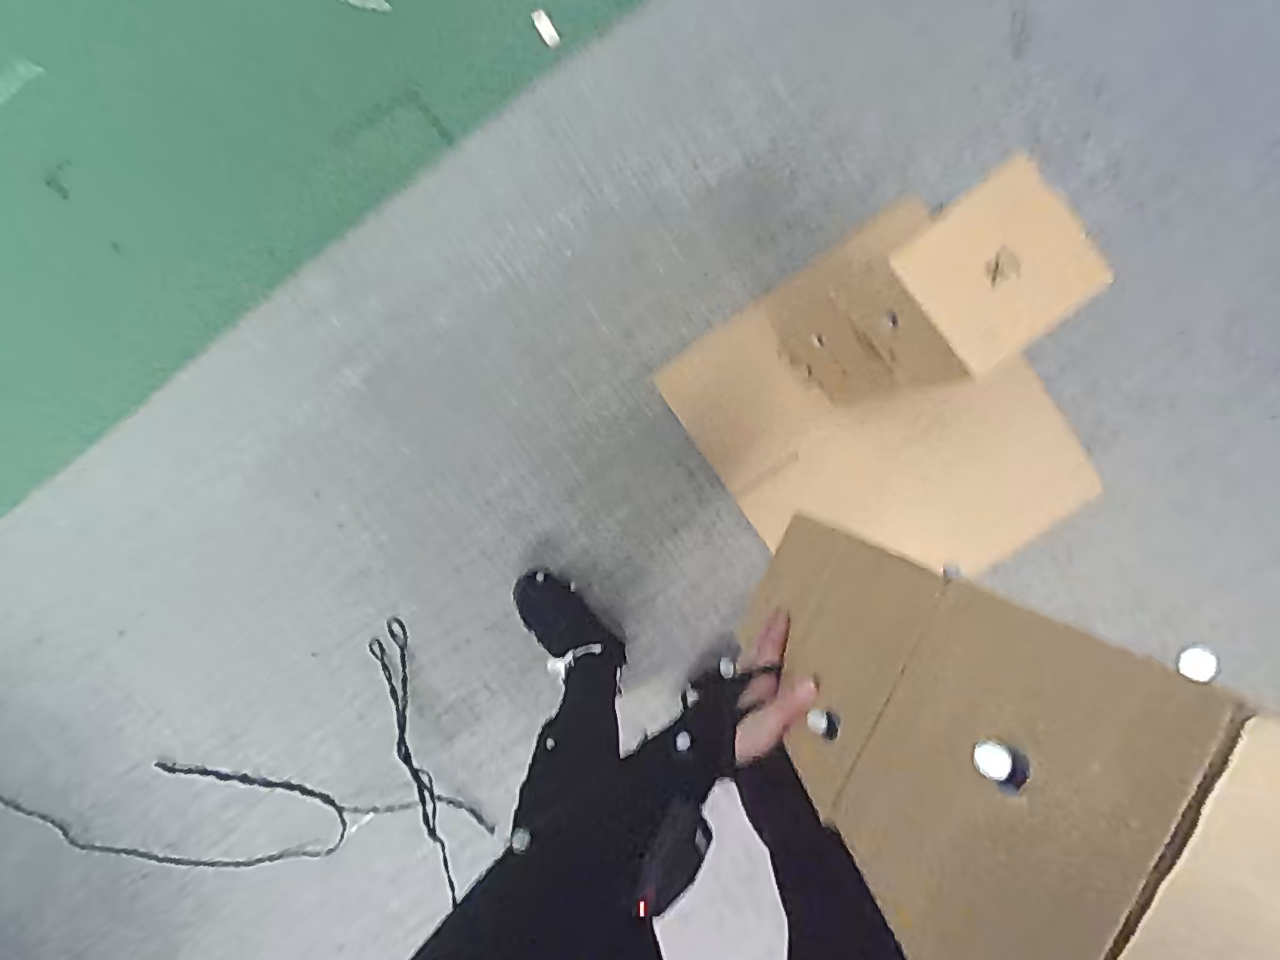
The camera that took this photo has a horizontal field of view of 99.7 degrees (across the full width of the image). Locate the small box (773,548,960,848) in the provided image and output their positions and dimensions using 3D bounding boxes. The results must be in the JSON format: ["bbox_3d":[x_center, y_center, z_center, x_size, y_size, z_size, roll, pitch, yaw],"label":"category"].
[{"bbox_3d":[0.220,0.174,0.418,0.168,0.176,0.179,26,93,-2],"label":"small box"}]

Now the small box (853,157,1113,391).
[{"bbox_3d":[0.382,-0.225,0.647,0.179,0.176,0.168,-38,91,4],"label":"small box"}]

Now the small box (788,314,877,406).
[{"bbox_3d":[0.395,-0.250,0.972,0.179,0.176,0.168,-42,91,5],"label":"small box"}]

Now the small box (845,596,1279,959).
[{"bbox_3d":[0.225,0.176,0.253,0.168,0.176,0.179,24,92,-1],"label":"small box"}]
